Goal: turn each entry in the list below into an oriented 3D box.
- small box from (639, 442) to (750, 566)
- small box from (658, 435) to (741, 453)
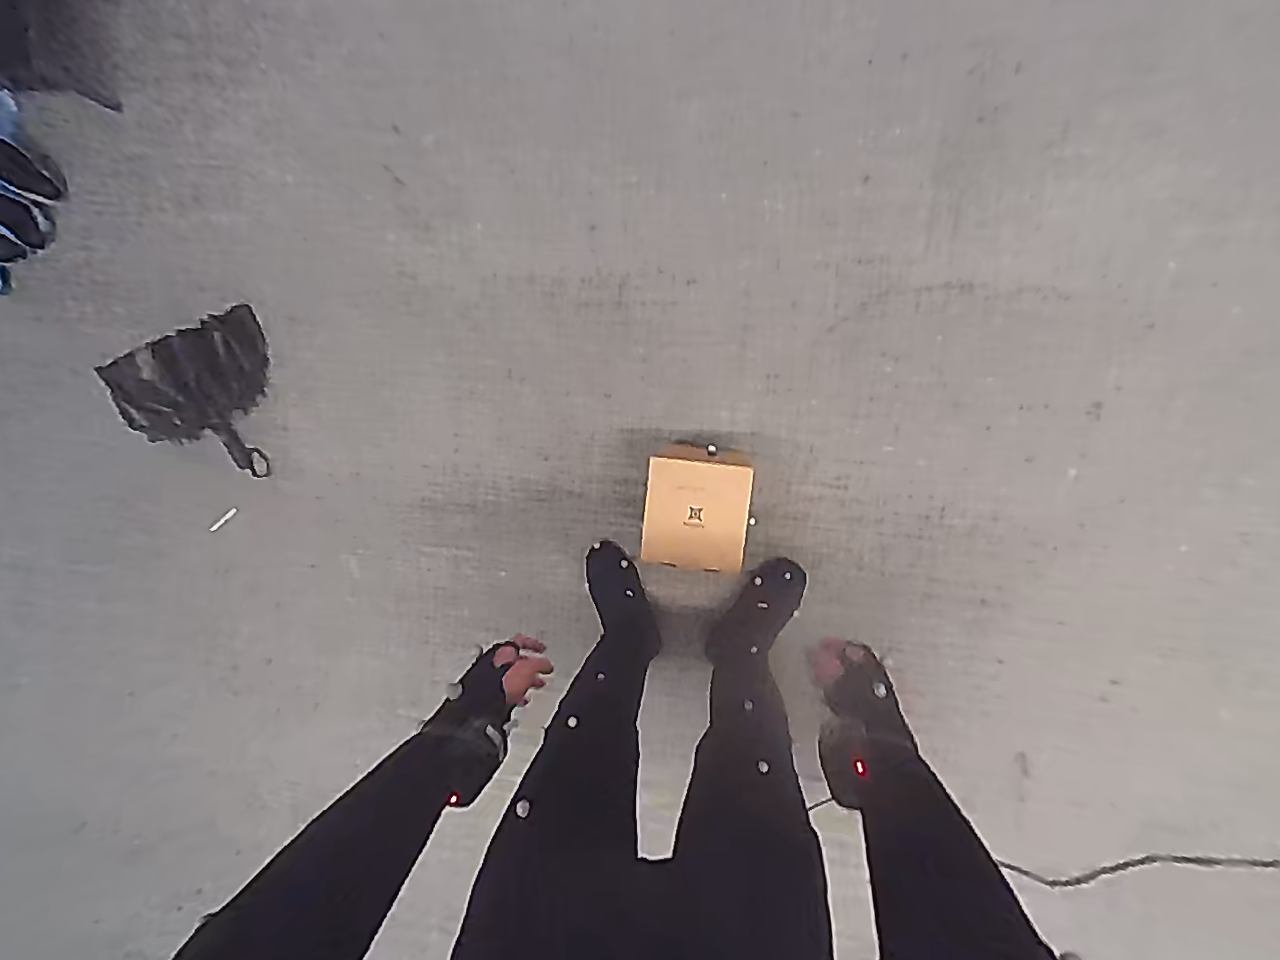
[{"bbox_3d":[0.097,0.033,0.945,0.168,0.176,0.179,6,98,7],"label":"small box"},{"bbox_3d":[0.117,0.010,1.105,0.168,0.176,0.179,8,100,8],"label":"small box"}]
